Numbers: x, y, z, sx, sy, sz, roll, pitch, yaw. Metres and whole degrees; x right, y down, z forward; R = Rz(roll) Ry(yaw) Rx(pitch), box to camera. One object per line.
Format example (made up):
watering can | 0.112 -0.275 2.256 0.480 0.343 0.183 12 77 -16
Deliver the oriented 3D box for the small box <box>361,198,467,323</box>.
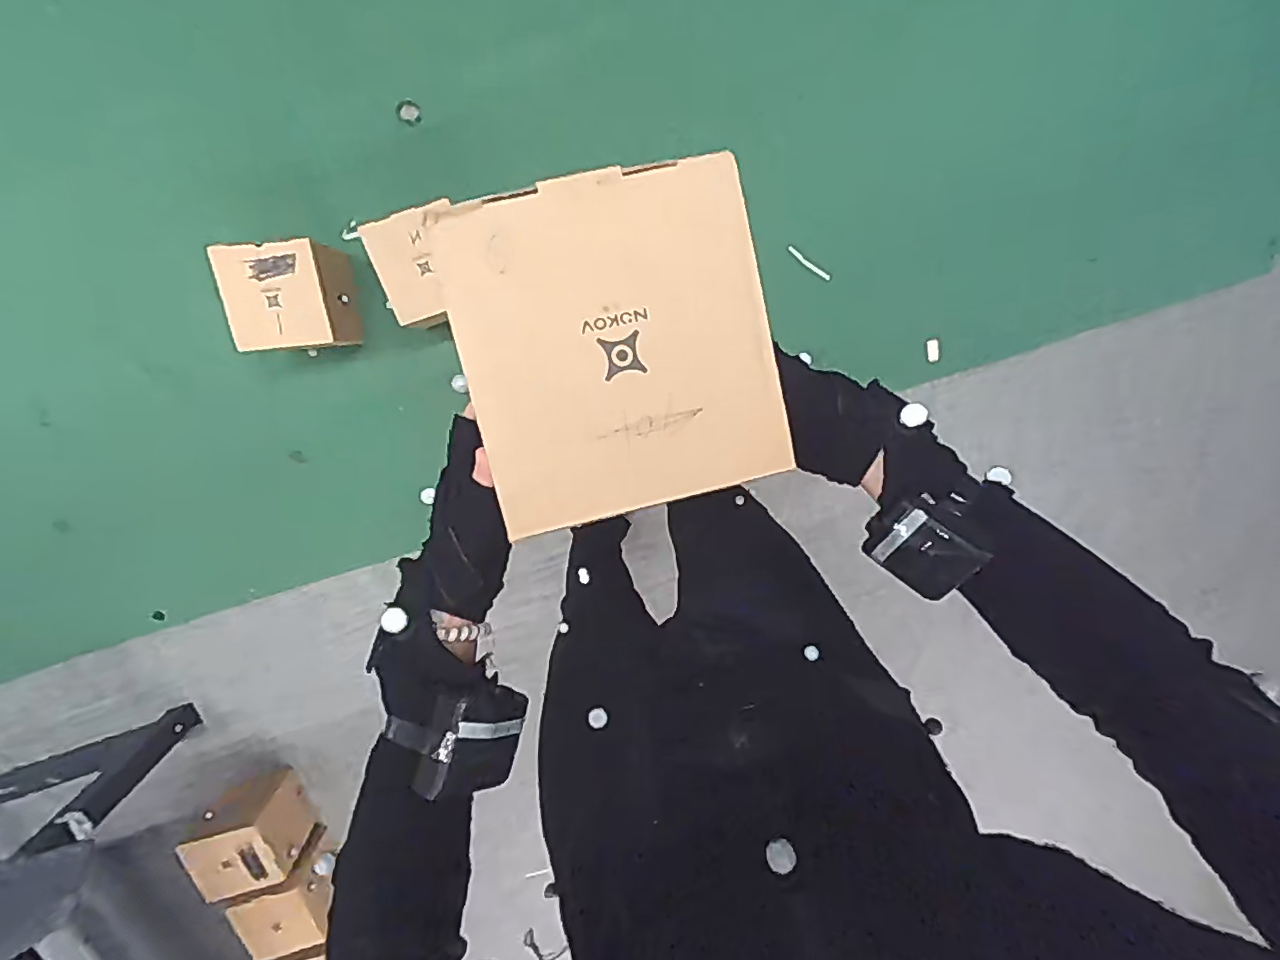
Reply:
small box | -0.386 -0.405 1.023 0.168 0.176 0.179 -19 105 -4

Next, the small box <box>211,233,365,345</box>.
small box | -0.637 -0.346 1.002 0.168 0.176 0.179 -7 106 -6
